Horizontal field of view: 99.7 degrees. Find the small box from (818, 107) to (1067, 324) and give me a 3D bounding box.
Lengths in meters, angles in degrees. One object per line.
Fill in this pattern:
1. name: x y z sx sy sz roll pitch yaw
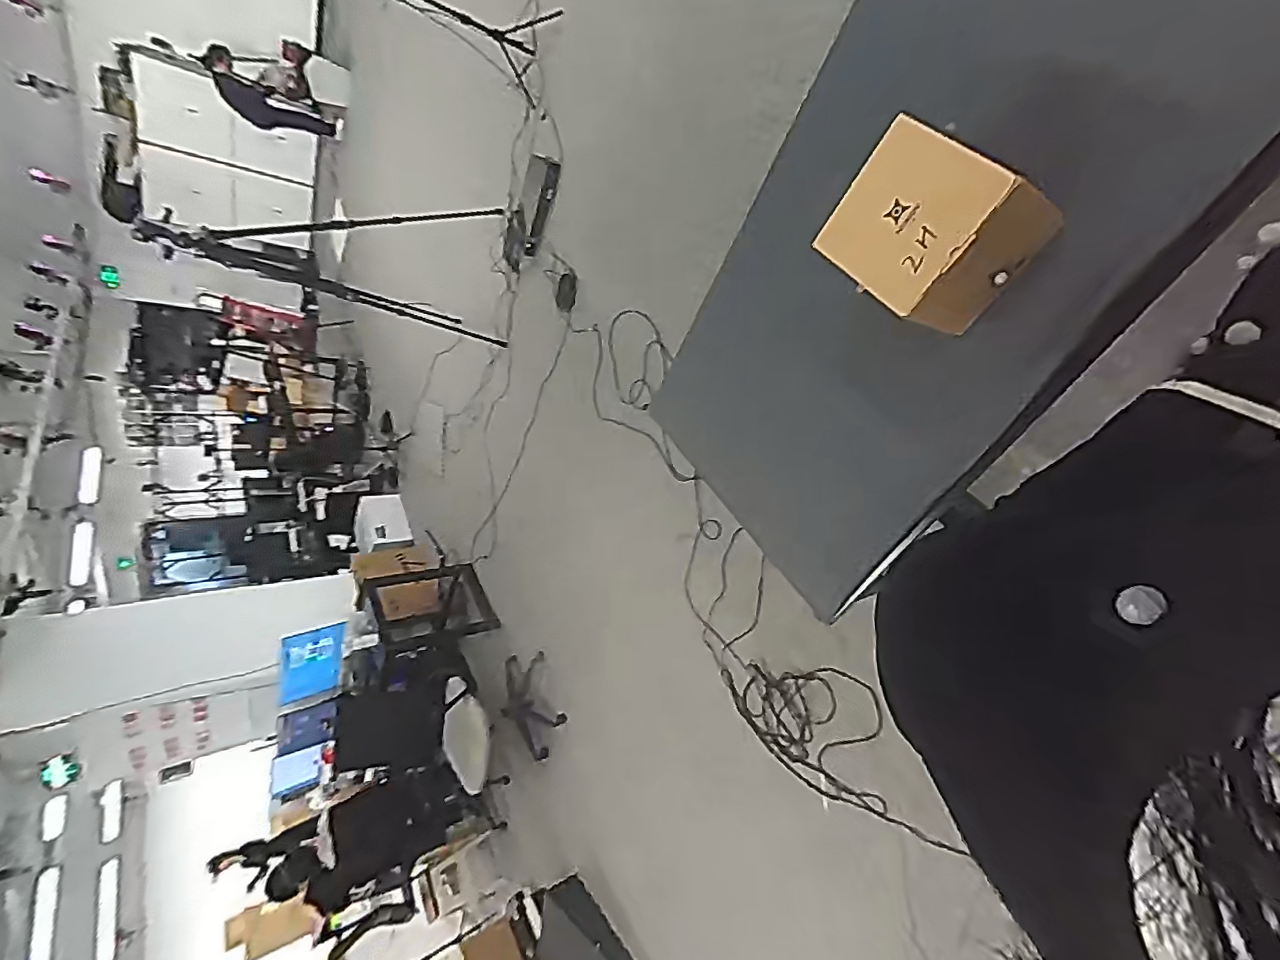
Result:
1. small box: 0.366 -0.312 0.667 0.179 0.176 0.168 58 133 32
